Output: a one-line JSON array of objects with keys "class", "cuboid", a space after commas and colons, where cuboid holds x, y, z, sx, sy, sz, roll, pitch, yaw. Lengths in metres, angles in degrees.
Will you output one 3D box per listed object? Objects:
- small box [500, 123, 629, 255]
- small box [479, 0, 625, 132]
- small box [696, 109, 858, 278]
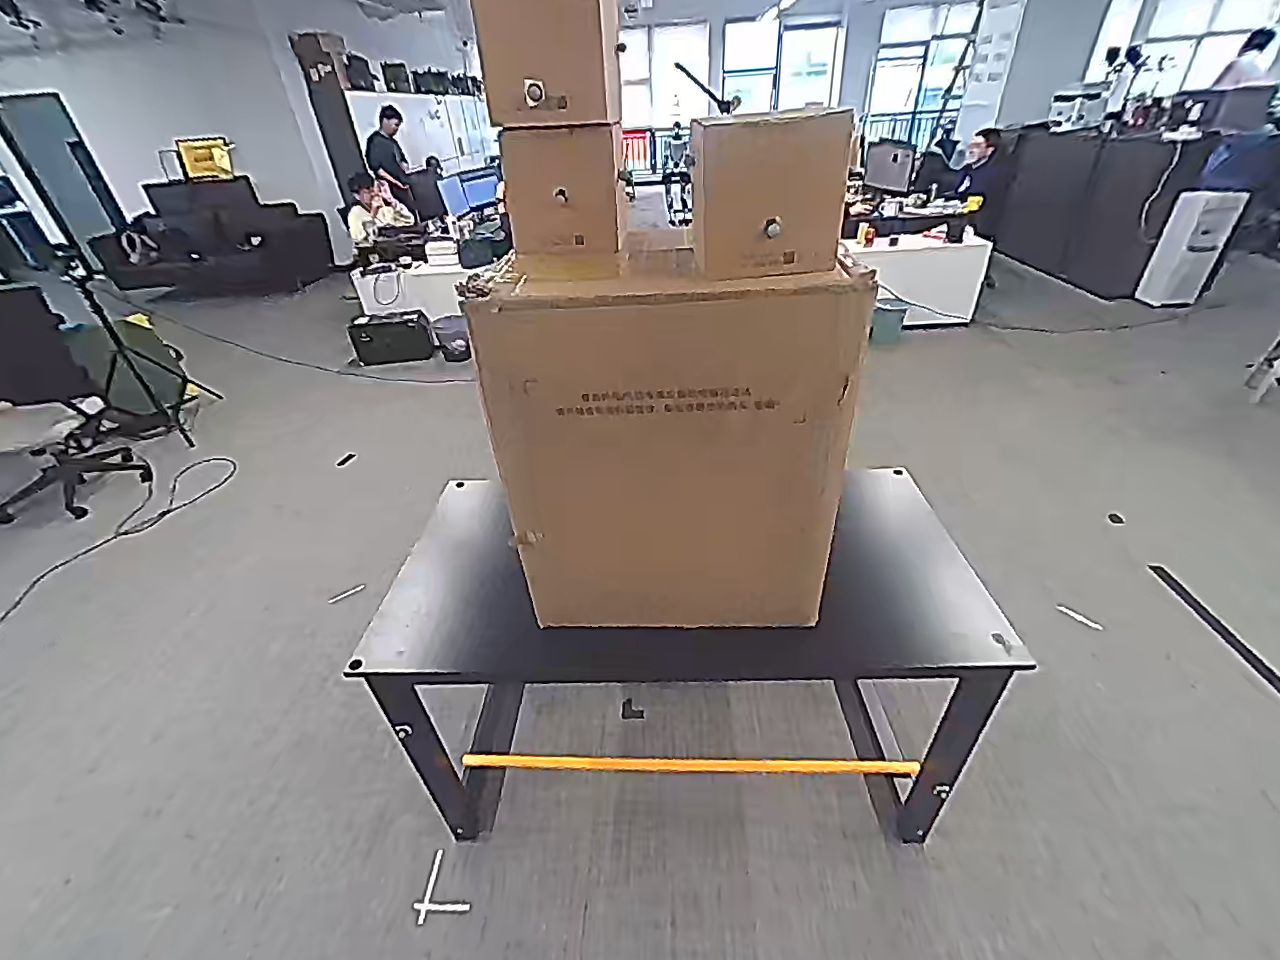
[{"class": "small box", "cuboid": [-0.107, -0.460, 0.857, 0.168, 0.176, 0.179, 0, 35, 3]}, {"class": "small box", "cuboid": [-0.112, -0.587, 0.751, 0.168, 0.176, 0.179, 0, 35, 5]}, {"class": "small box", "cuboid": [0.160, -0.370, 0.698, 0.168, 0.176, 0.179, -4, 36, 3]}]
